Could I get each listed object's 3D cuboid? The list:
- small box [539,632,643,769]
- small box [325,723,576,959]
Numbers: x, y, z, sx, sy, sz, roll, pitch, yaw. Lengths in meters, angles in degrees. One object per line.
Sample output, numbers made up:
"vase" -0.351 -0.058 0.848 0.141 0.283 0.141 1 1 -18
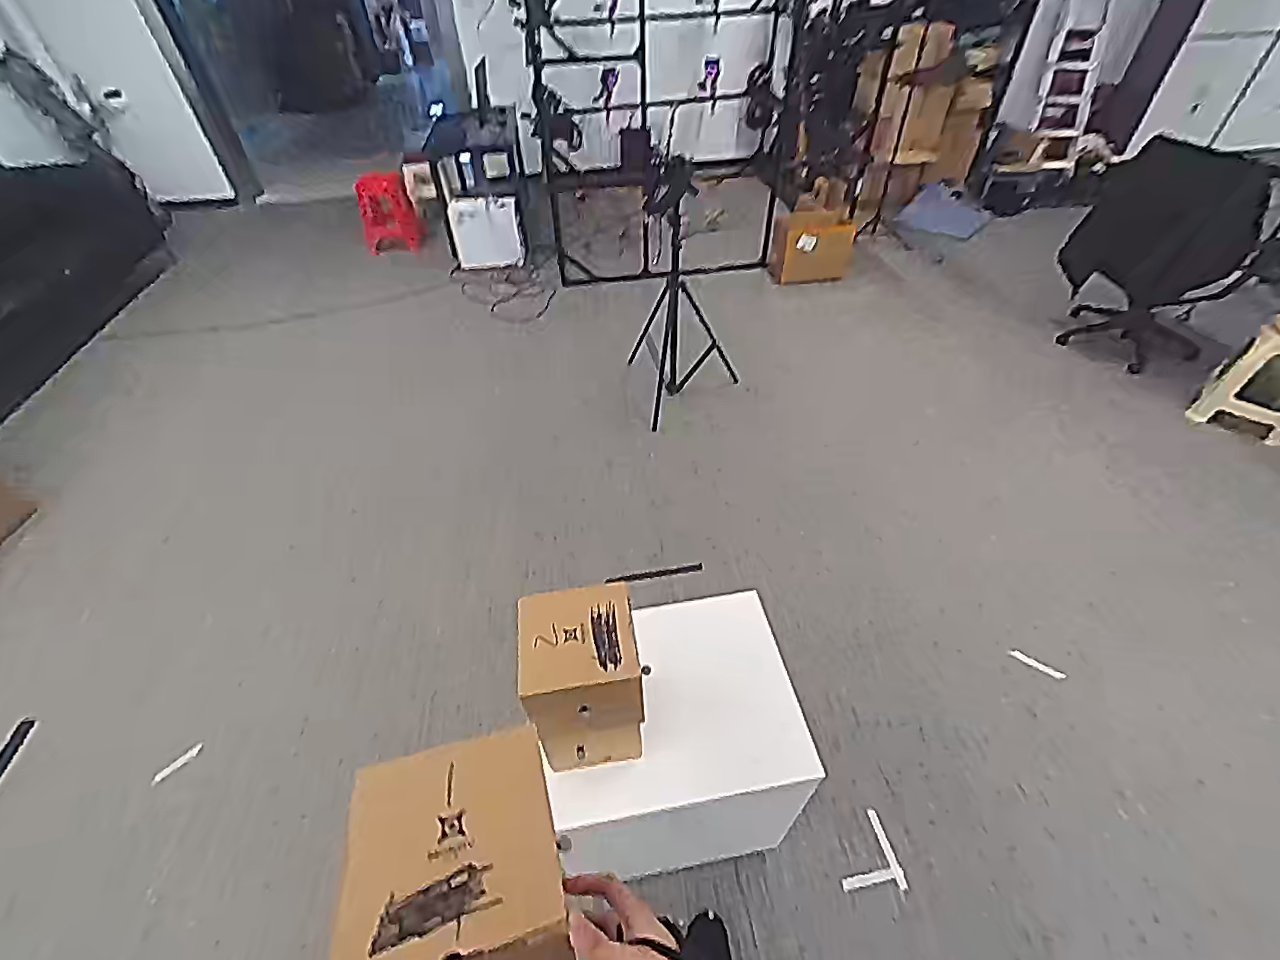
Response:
"small box" -0.088 0.404 0.981 0.168 0.176 0.179 -7 45 -5
"small box" -0.155 0.361 0.480 0.168 0.176 0.179 -10 31 -15
